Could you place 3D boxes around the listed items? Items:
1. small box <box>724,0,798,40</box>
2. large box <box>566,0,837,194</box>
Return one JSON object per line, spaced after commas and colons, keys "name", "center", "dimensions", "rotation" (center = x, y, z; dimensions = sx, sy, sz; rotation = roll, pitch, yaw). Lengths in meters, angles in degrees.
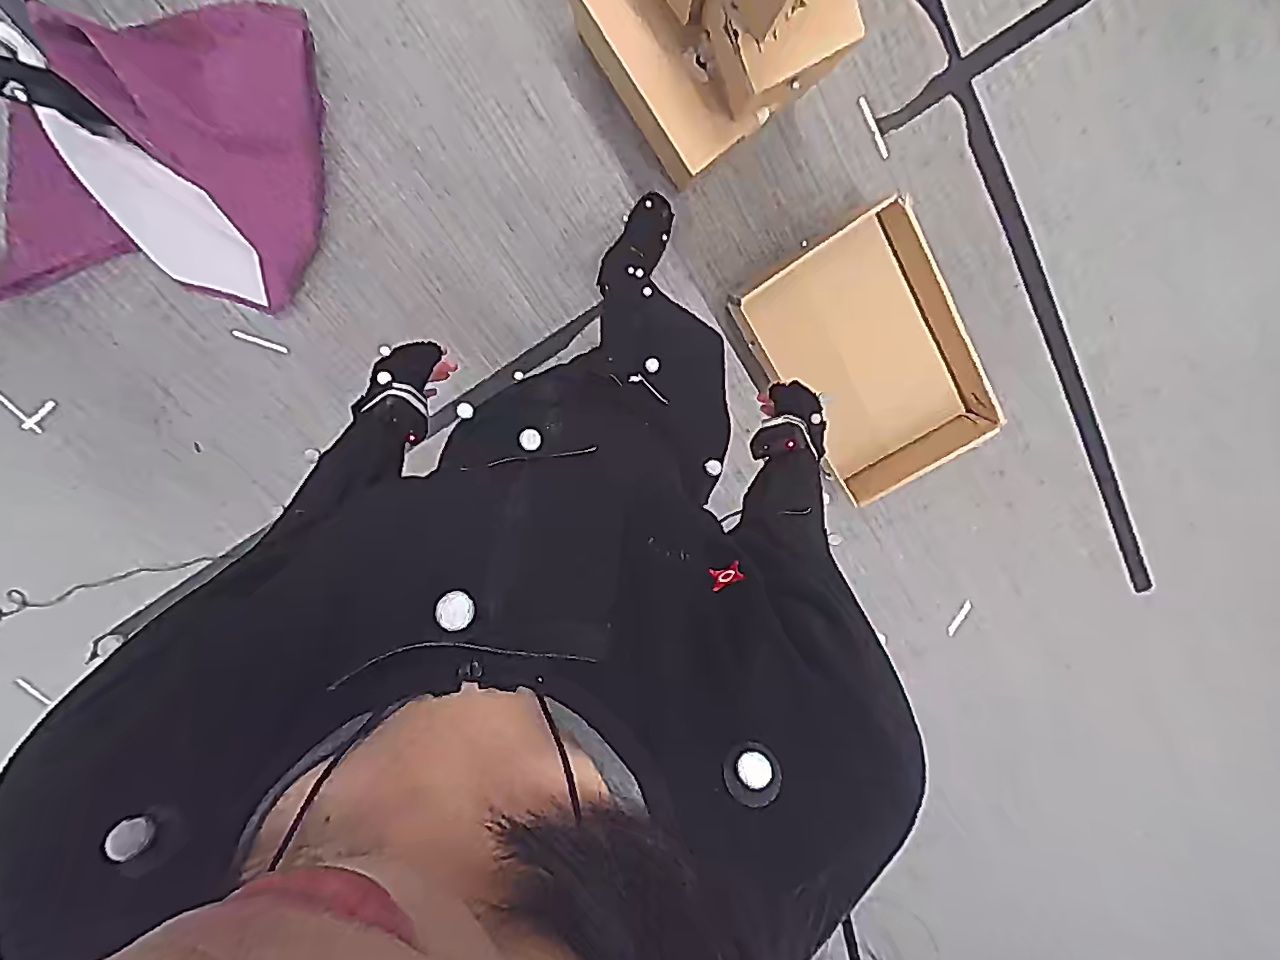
{"name": "small box", "center": [0.167, -0.705, 0.667], "dimensions": [0.168, 0.176, 0.179], "rotation": [38, 108, -14]}
{"name": "large box", "center": [0.101, -0.845, 1.049], "dimensions": [0.320, 0.320, 0.408], "rotation": [-35, 109, 14]}
